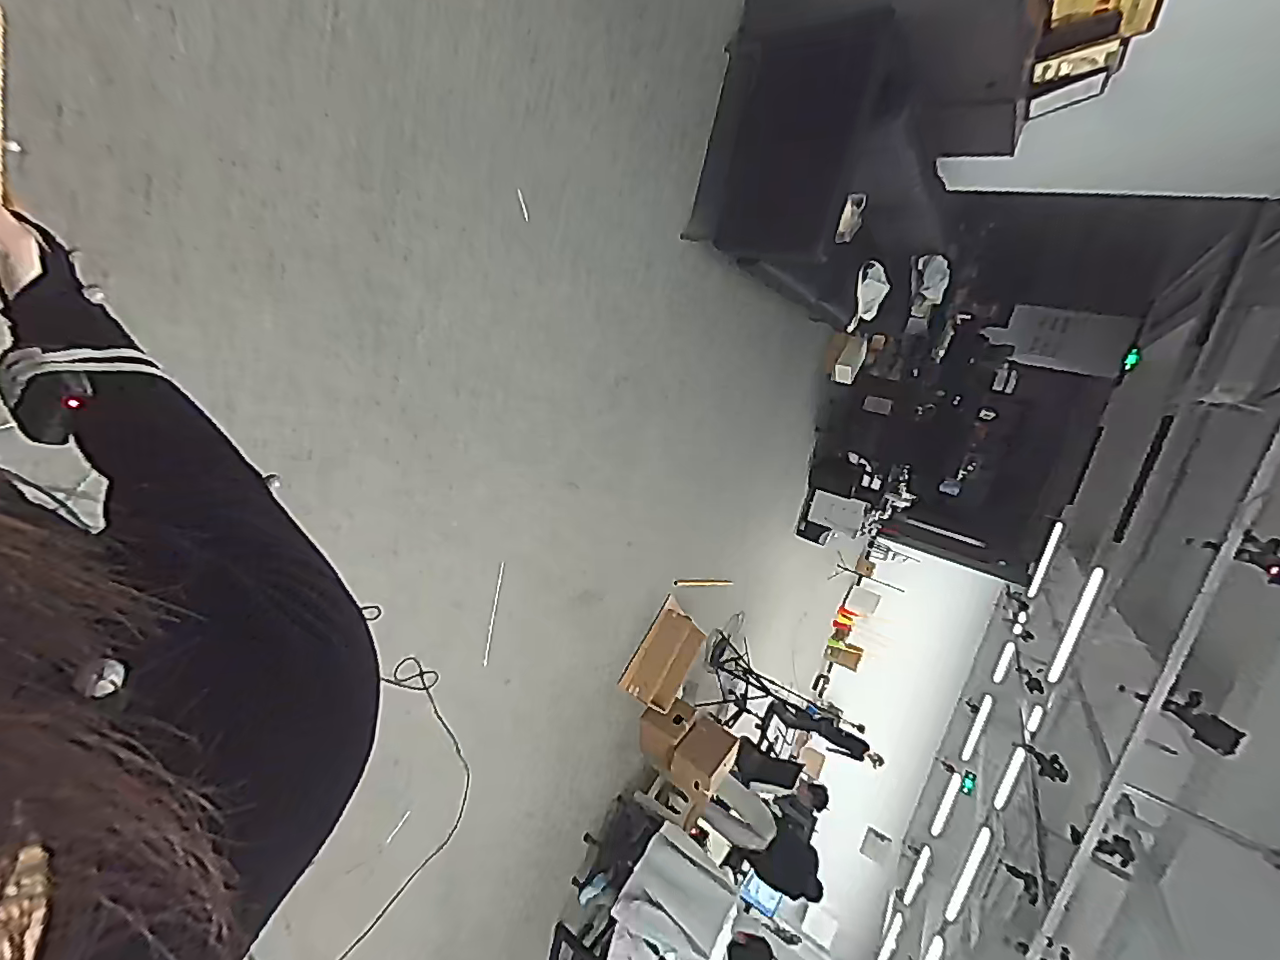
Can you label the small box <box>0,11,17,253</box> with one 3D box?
[{"bbox_3d":[-0.597,-0.288,0.398,0.168,0.176,0.179,-4,111,-56],"label":"small box"}]
